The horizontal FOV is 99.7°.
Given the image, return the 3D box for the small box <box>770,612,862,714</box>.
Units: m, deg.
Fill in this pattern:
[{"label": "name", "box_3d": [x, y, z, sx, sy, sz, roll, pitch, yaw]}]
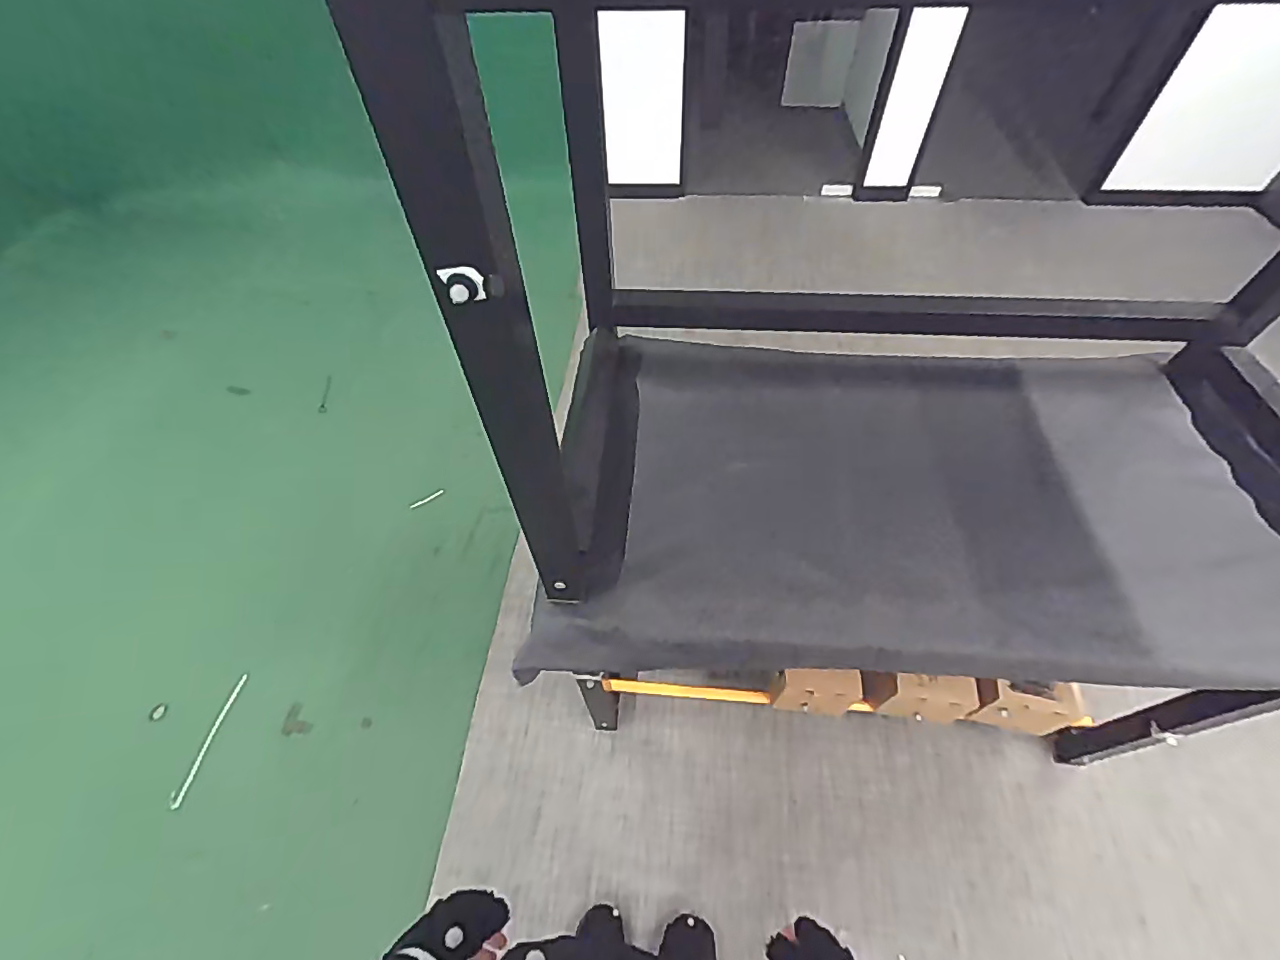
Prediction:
[{"label": "small box", "box_3d": [0.401, 0.429, 1.263, 0.168, 0.176, 0.179, 4, 56, 5]}]
